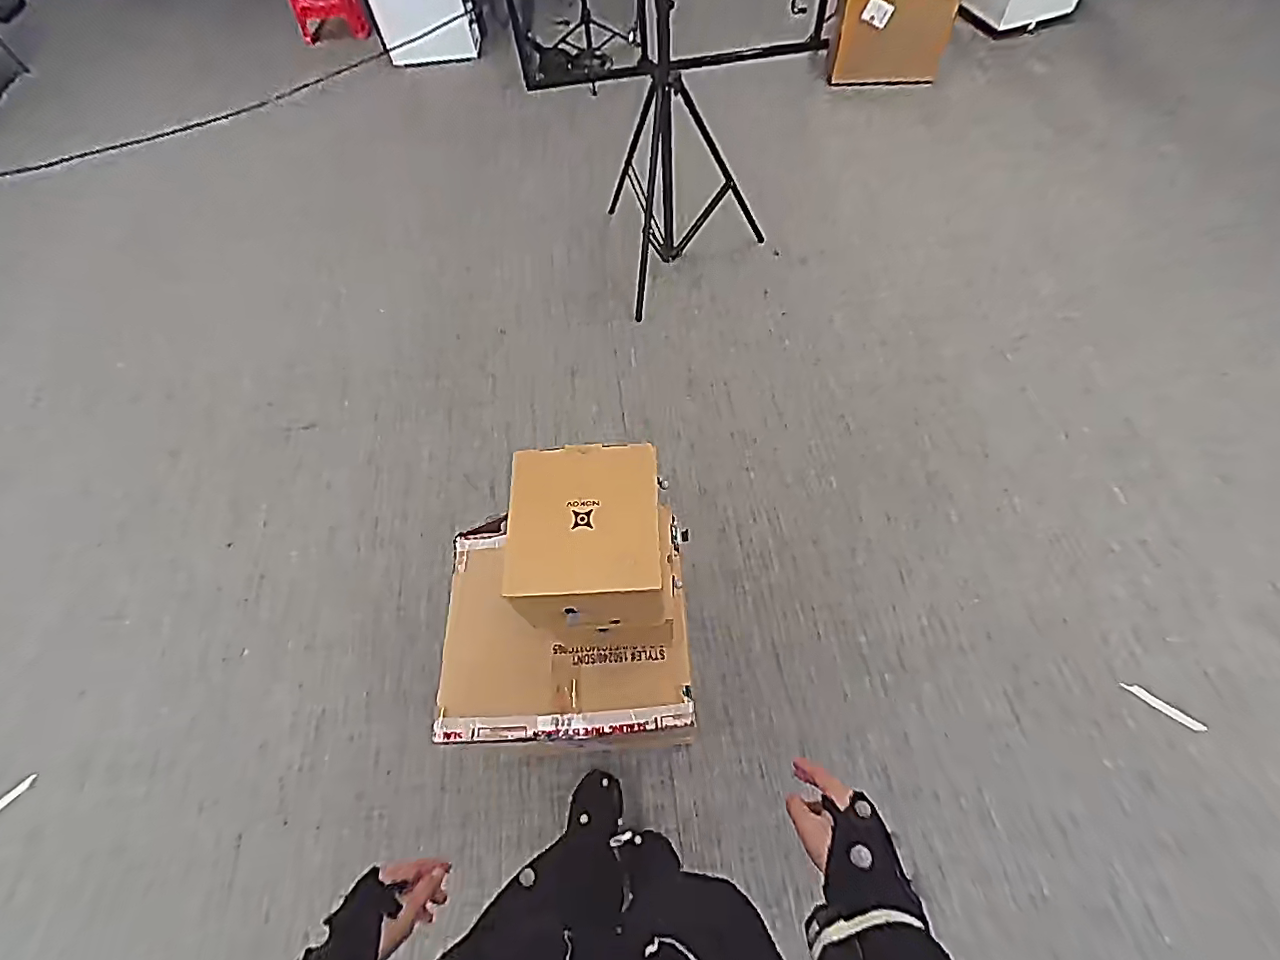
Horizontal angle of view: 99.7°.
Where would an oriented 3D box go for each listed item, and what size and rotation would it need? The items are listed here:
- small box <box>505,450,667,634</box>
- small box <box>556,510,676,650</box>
[{"bbox_3d":[-0.055,0.084,0.654,0.168,0.176,0.179,-4,61,1],"label":"small box"},{"bbox_3d":[-0.037,0.154,0.800,0.179,0.176,0.168,-1,62,2],"label":"small box"}]
